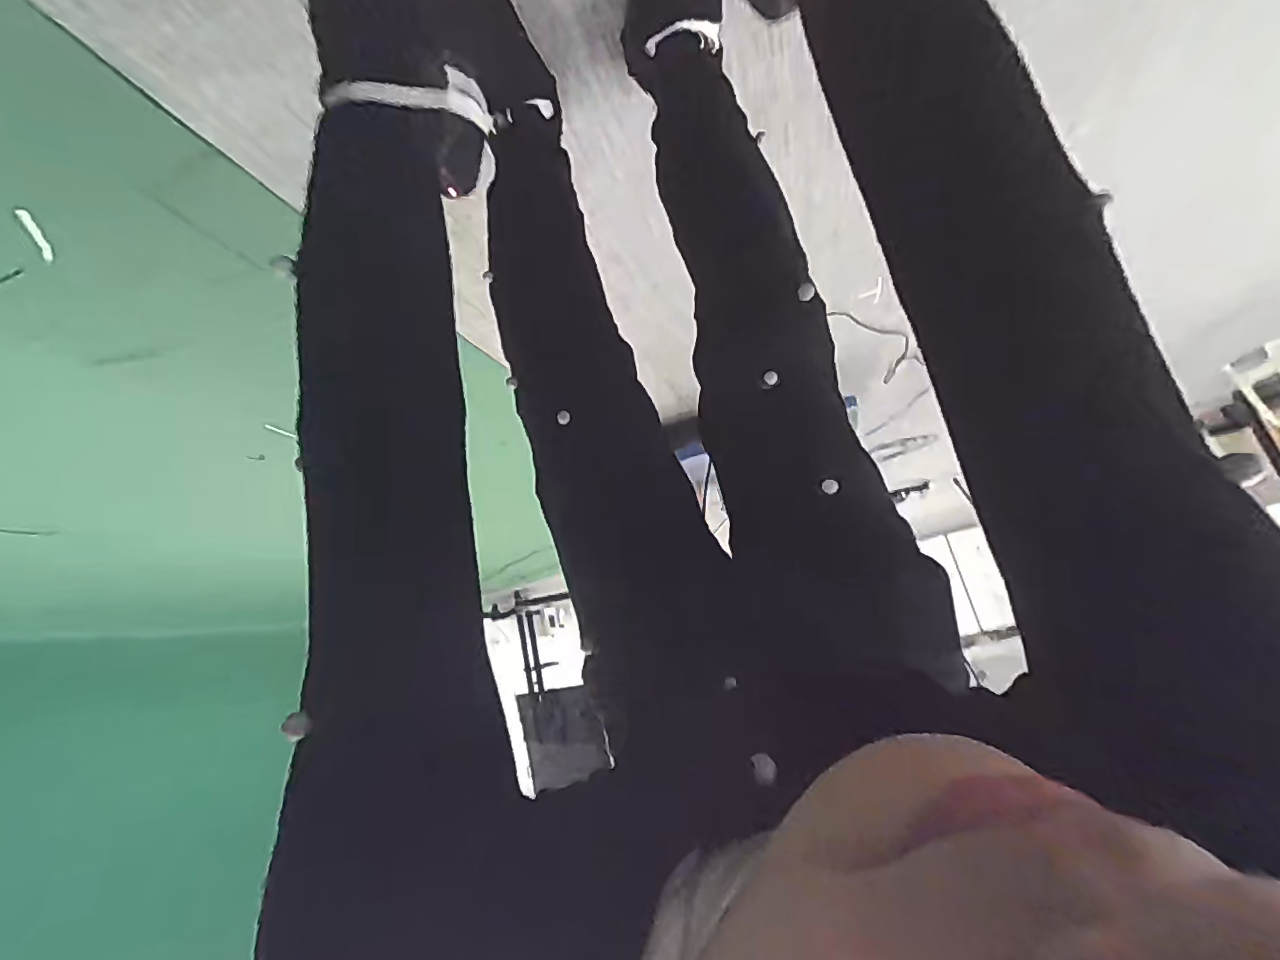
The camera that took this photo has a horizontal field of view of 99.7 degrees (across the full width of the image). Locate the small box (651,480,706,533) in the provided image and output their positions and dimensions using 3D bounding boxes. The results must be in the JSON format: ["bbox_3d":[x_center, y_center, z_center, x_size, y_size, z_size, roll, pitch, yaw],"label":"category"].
[{"bbox_3d":[0.163,0.112,2.269,0.179,0.176,0.168,-17,162,11],"label":"small box"}]
